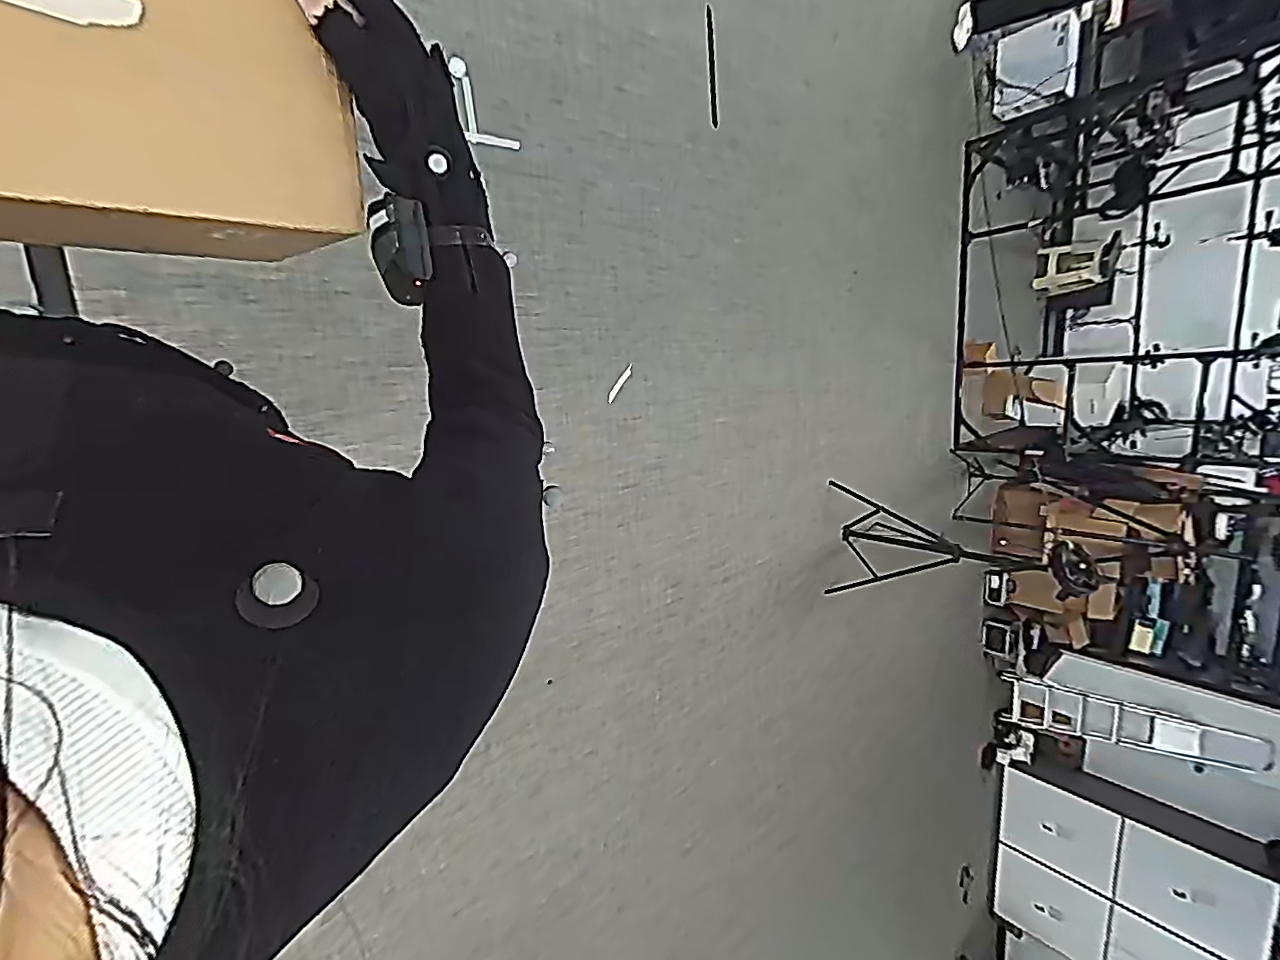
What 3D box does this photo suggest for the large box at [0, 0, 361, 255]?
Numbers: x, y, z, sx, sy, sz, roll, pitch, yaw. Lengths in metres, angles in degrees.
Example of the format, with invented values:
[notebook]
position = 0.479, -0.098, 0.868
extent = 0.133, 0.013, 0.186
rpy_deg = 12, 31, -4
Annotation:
[large box]
position = -0.459, -0.330, 0.342
extent = 0.408, 0.320, 0.320
rpy_deg = -15, 114, -41
